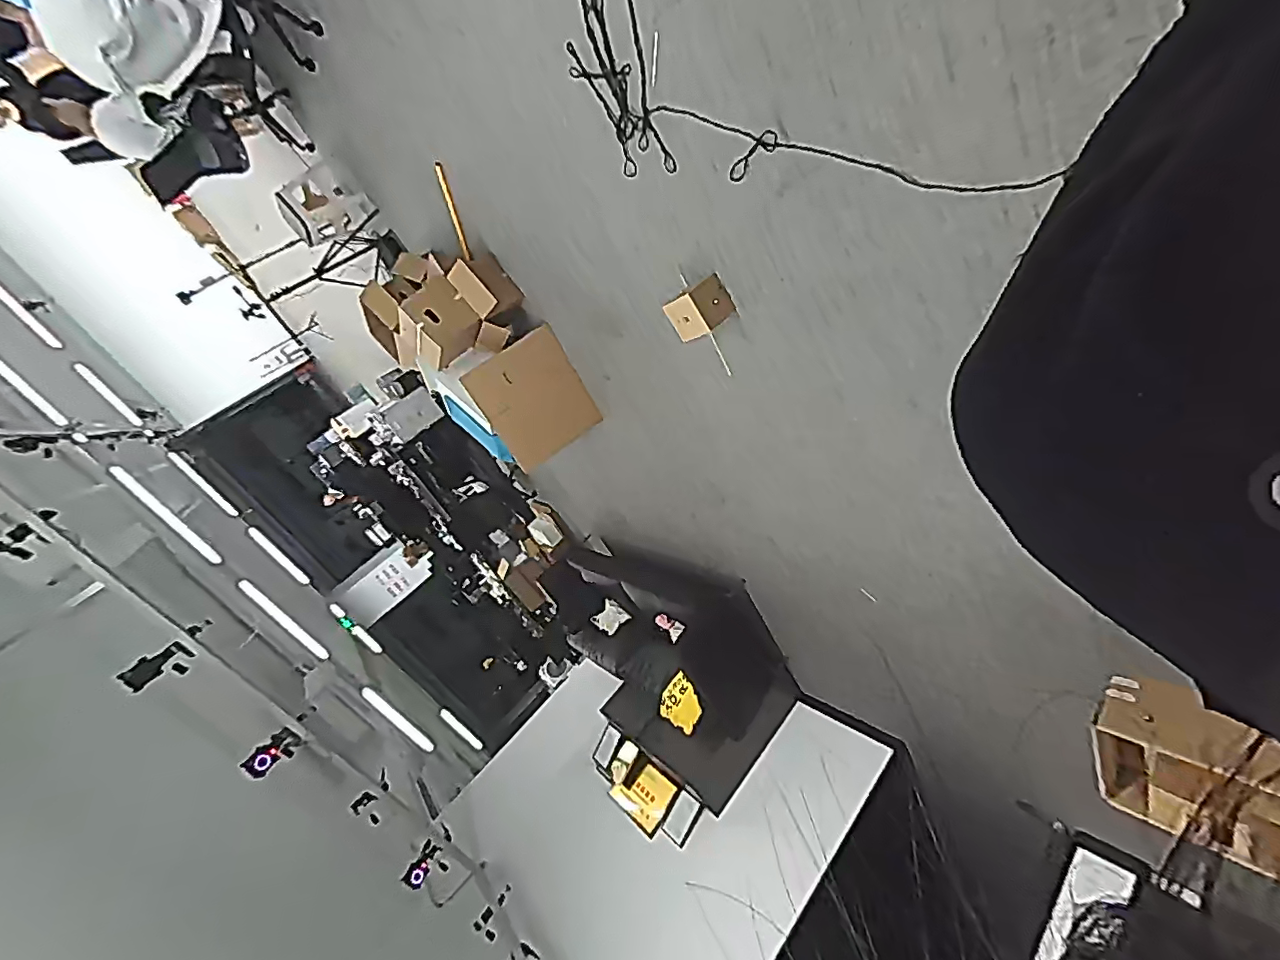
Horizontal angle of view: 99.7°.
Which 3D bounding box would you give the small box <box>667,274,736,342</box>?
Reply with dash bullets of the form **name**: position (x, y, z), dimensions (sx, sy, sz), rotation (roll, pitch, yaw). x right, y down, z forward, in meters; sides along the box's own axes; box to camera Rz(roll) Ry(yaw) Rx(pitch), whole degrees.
- **small box**: position (0.242, -0.662, 2.074), dimensions (0.168, 0.176, 0.179), rotation (55, 156, -18)
